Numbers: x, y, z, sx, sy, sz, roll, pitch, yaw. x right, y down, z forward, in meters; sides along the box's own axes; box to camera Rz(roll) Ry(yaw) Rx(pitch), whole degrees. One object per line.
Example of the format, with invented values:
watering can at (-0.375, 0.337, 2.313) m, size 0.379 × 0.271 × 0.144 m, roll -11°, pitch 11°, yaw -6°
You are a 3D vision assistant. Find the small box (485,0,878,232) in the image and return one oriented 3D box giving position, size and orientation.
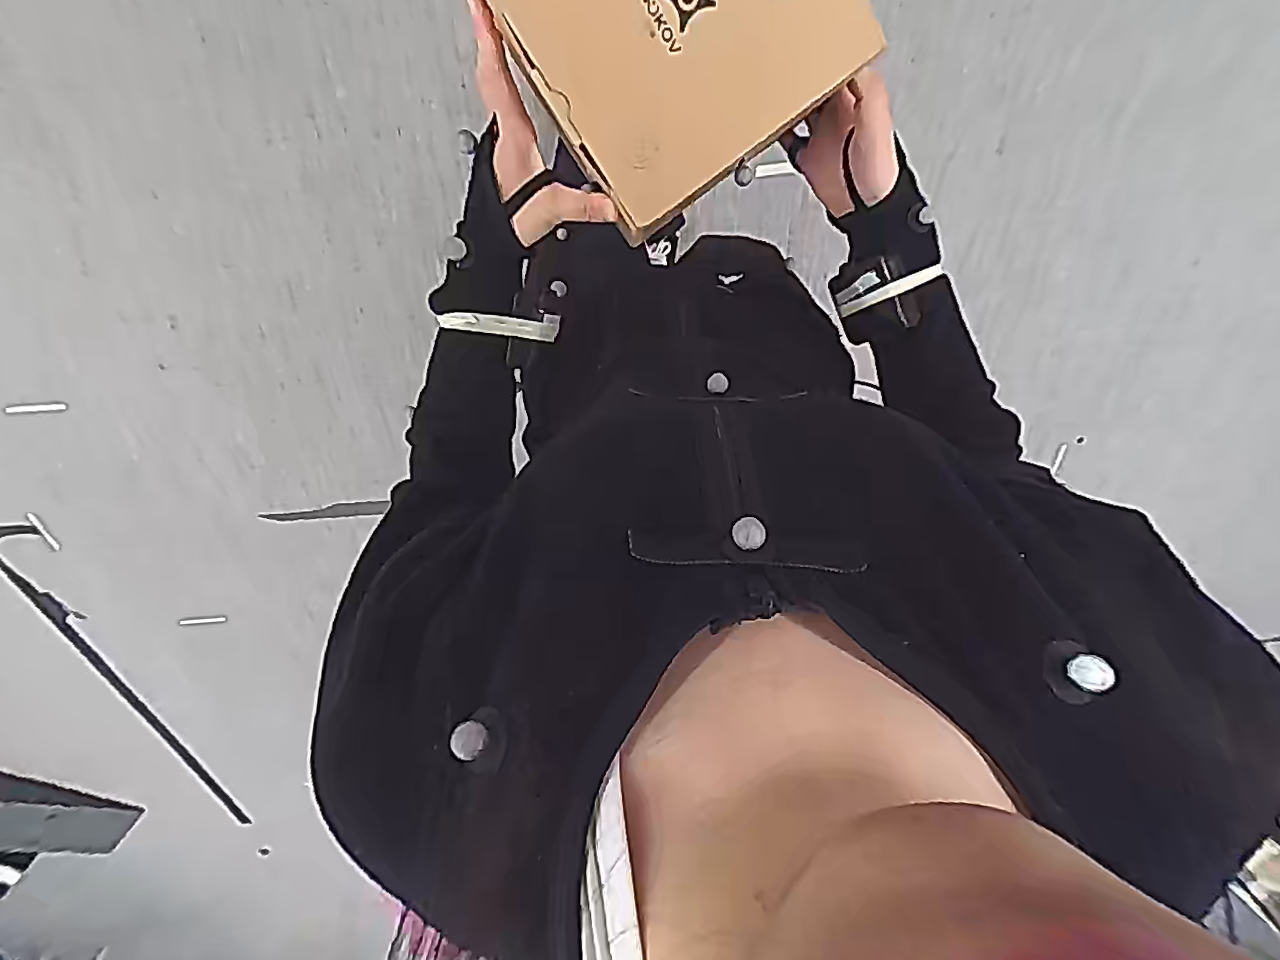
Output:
small box at (0.018, -0.295, 0.372) m, size 0.179 × 0.176 × 0.168 m, roll -34°, pitch 109°, yaw 9°
